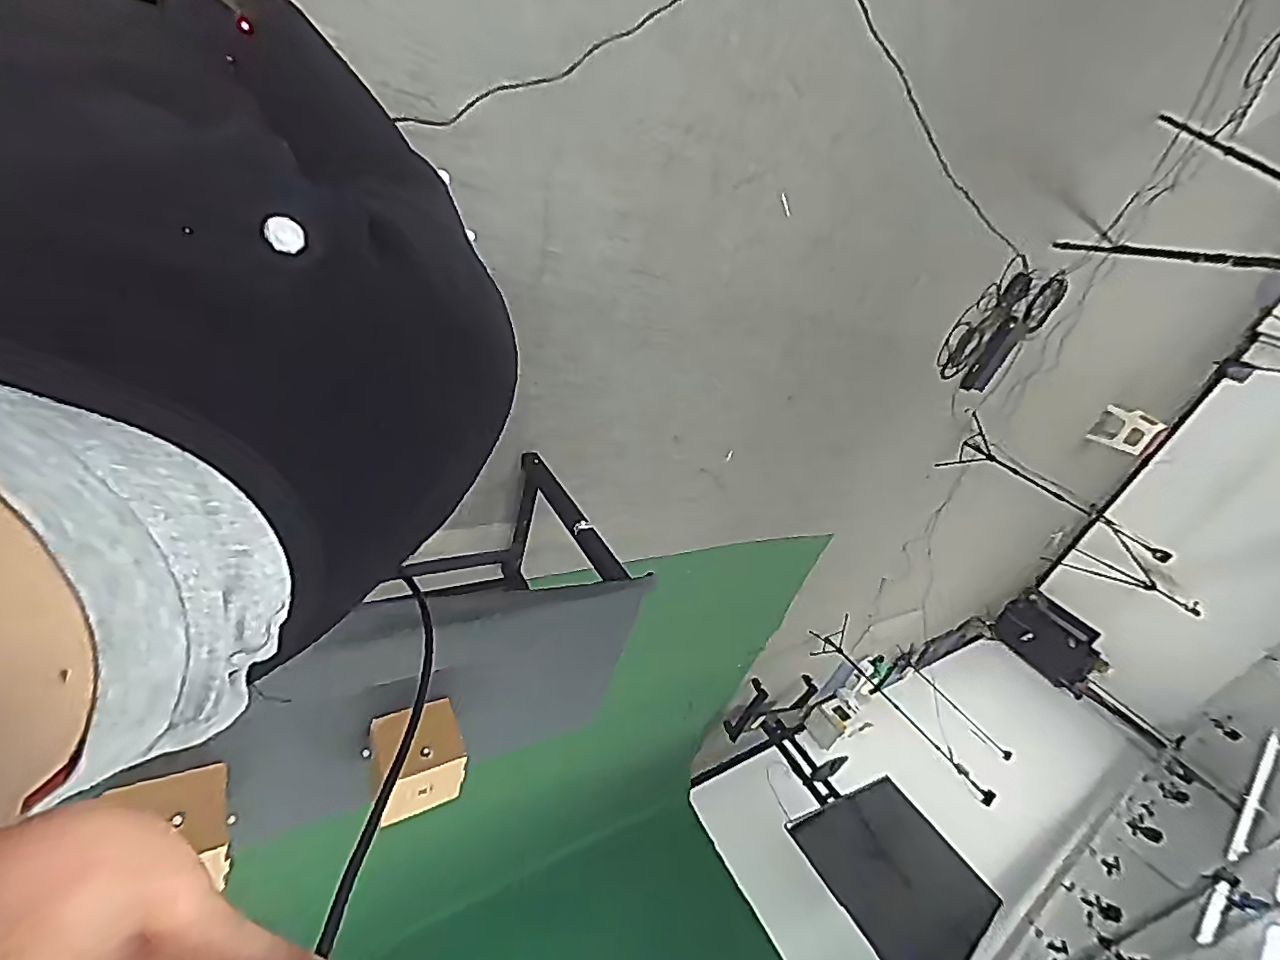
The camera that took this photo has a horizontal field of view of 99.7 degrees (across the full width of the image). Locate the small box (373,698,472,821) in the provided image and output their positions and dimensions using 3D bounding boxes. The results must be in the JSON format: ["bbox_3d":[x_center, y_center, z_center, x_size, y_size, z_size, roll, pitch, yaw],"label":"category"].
[{"bbox_3d":[-0.513,0.644,1.266,0.179,0.176,0.168,-5,125,-34],"label":"small box"}]

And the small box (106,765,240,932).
[{"bbox_3d":[-0.861,0.667,1.003,0.179,0.176,0.168,1,123,-40],"label":"small box"}]
